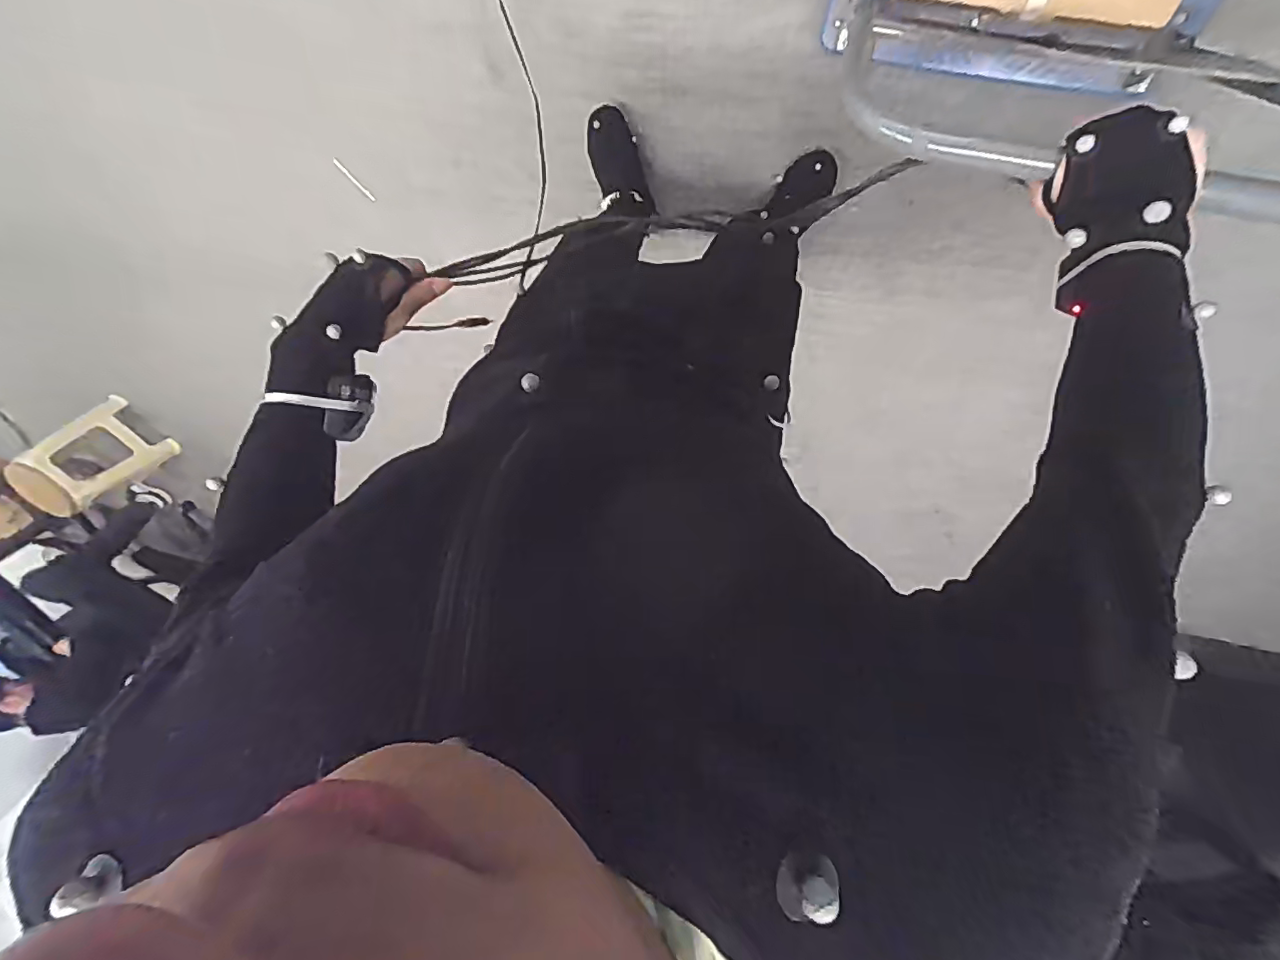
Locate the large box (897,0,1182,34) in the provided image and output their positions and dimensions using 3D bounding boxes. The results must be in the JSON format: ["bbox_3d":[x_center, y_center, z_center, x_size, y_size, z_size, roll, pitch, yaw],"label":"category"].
[{"bbox_3d":[0.552,-0.820,0.661,0.320,0.320,0.408,15,132,8],"label":"large box"}]
